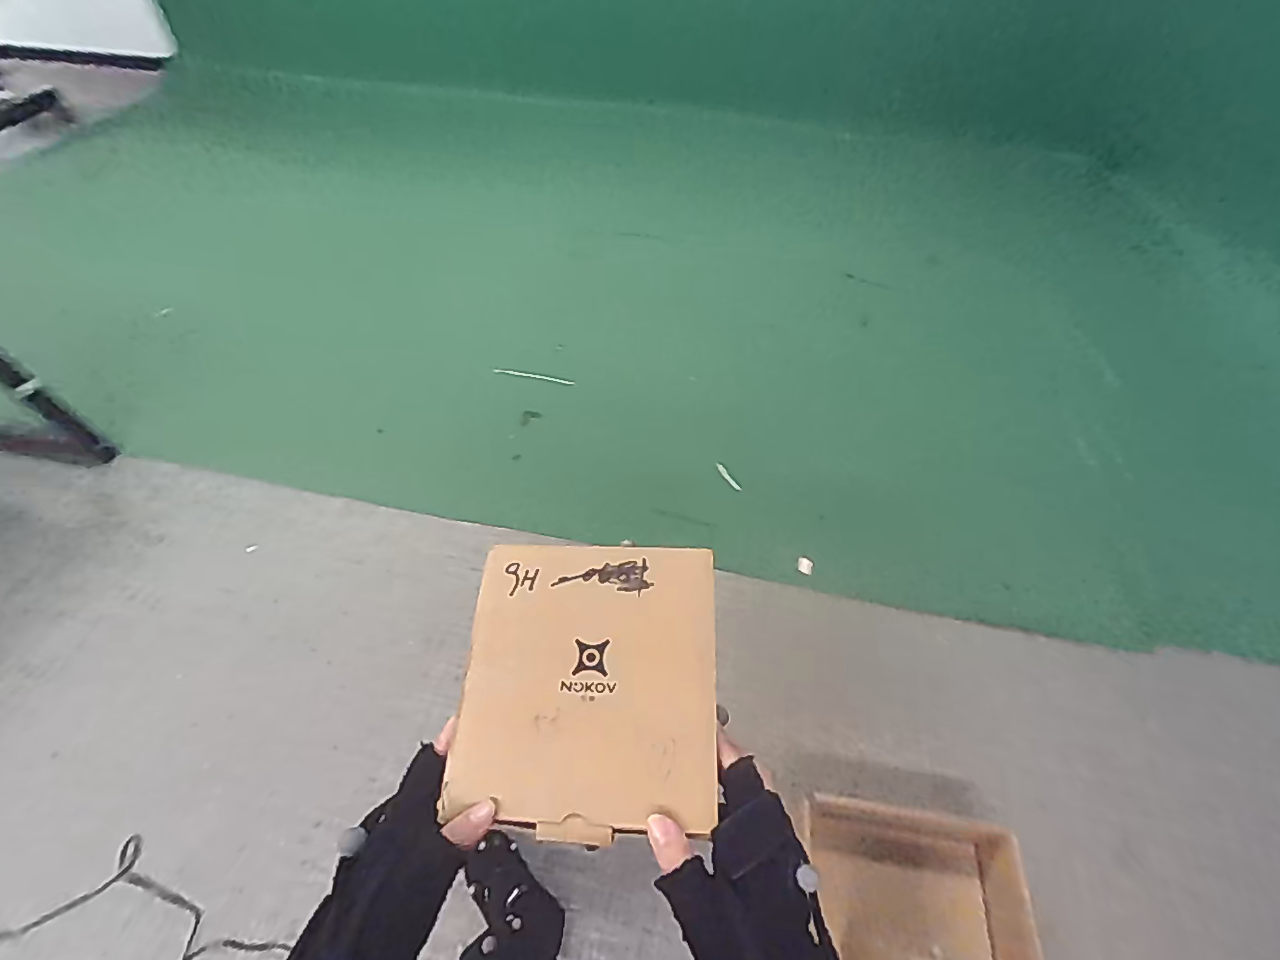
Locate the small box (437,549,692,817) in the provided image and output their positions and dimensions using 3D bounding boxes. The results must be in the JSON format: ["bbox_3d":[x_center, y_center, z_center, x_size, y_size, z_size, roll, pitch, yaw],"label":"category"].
[{"bbox_3d":[-0.043,0.170,0.448,0.168,0.176,0.179,-3,61,4],"label":"small box"}]

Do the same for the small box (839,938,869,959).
[{"bbox_3d":[0.453,0.915,0.931,0.179,0.176,0.168,8,55,3],"label":"small box"}]
